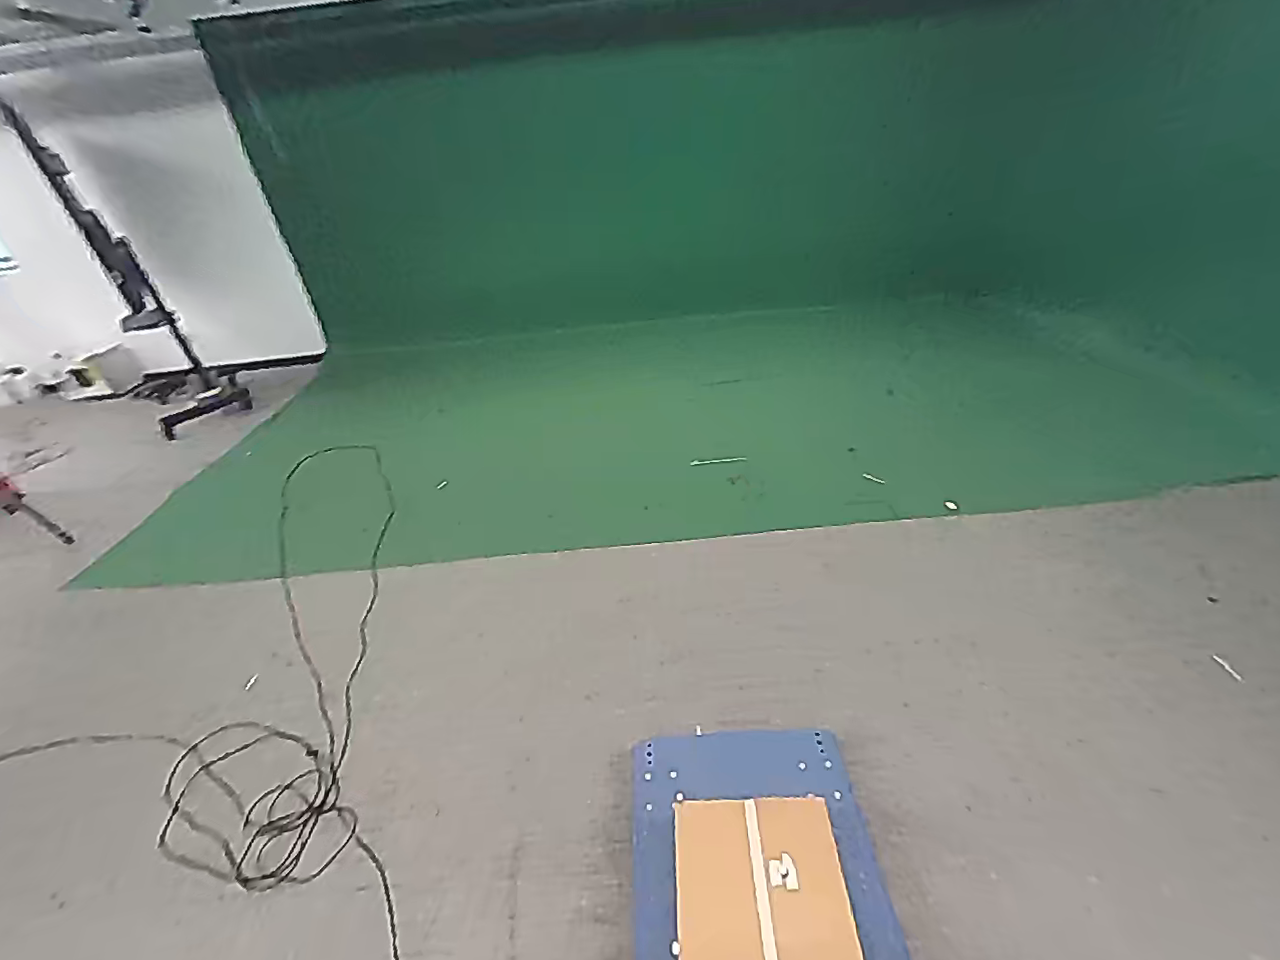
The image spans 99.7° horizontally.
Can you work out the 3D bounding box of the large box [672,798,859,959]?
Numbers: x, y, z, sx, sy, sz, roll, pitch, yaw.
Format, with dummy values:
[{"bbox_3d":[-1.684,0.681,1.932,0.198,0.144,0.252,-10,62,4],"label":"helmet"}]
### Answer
[{"bbox_3d":[0.234,0.909,1.053,0.320,0.320,0.408,-4,33,4],"label":"large box"}]
